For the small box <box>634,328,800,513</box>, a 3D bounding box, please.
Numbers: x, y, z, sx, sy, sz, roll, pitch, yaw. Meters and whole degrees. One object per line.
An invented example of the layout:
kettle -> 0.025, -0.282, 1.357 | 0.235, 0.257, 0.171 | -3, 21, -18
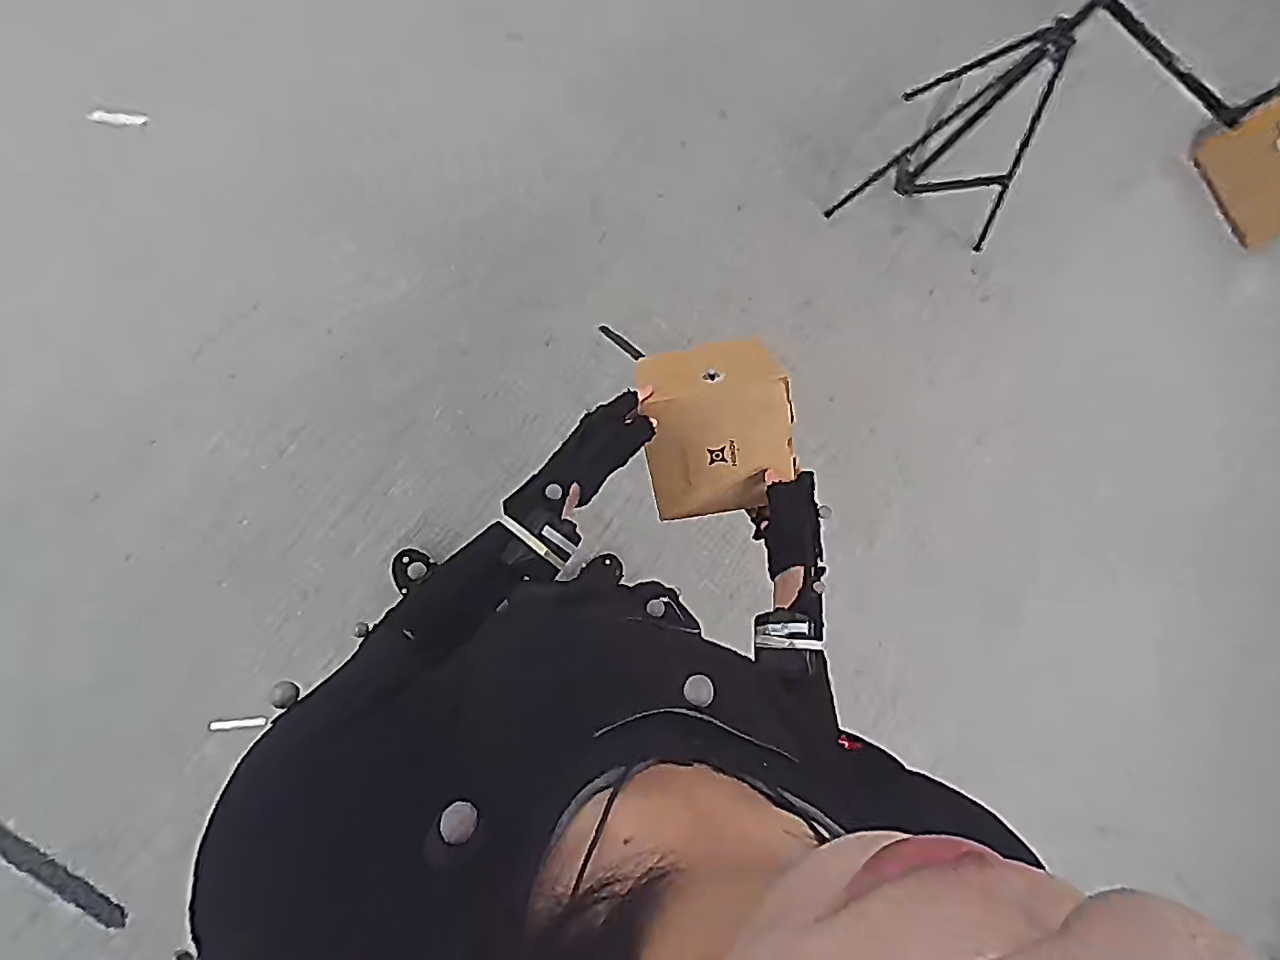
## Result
small box -> 0.093, -0.083, 0.694 | 0.179, 0.176, 0.168 | -11, 119, 7
